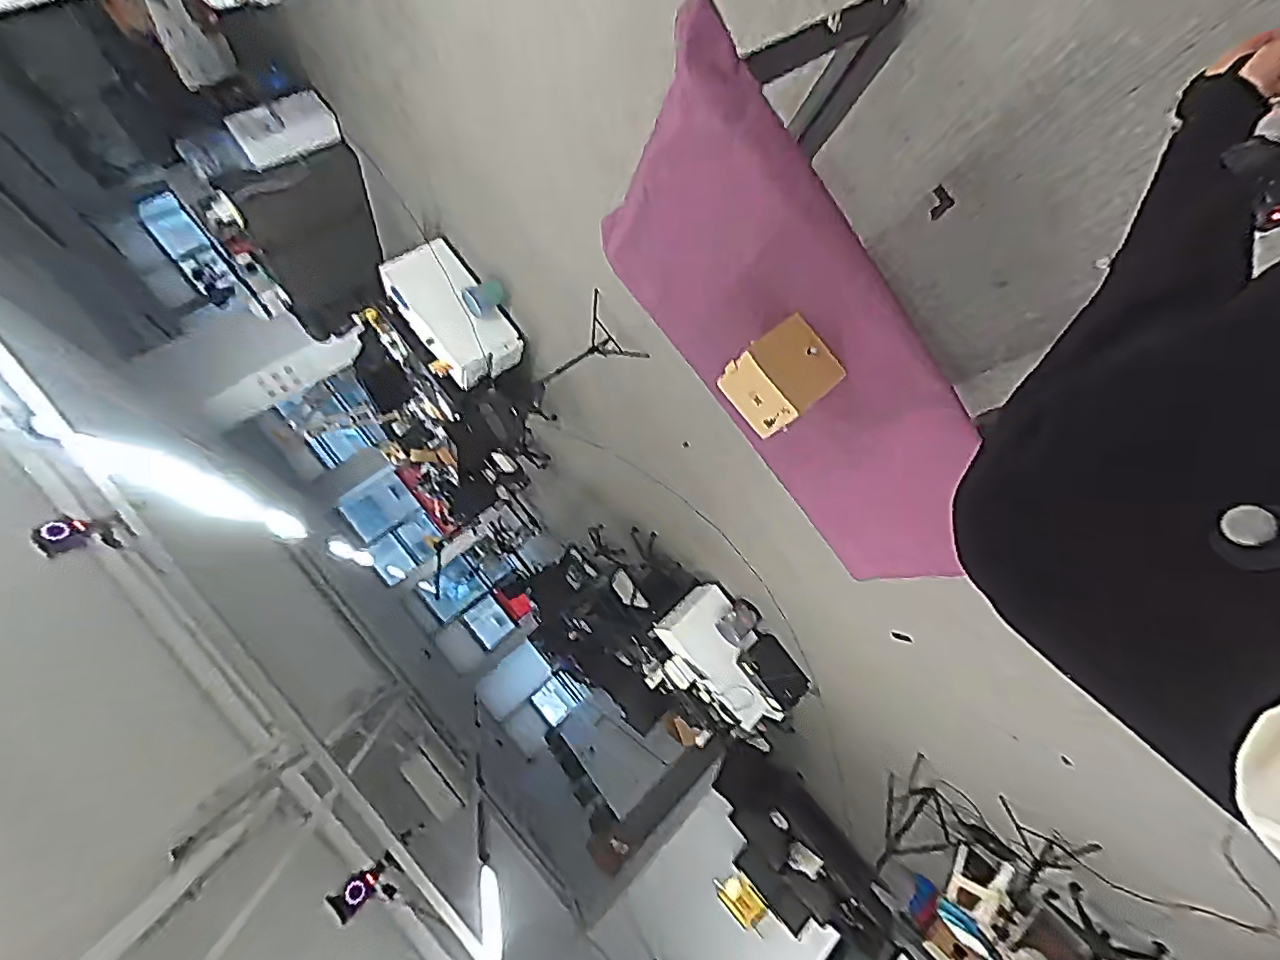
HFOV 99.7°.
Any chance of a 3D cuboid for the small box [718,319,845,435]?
[{"bbox_3d":[0.314,-0.235,1.208,0.179,0.176,0.168,52,161,1],"label":"small box"}]
